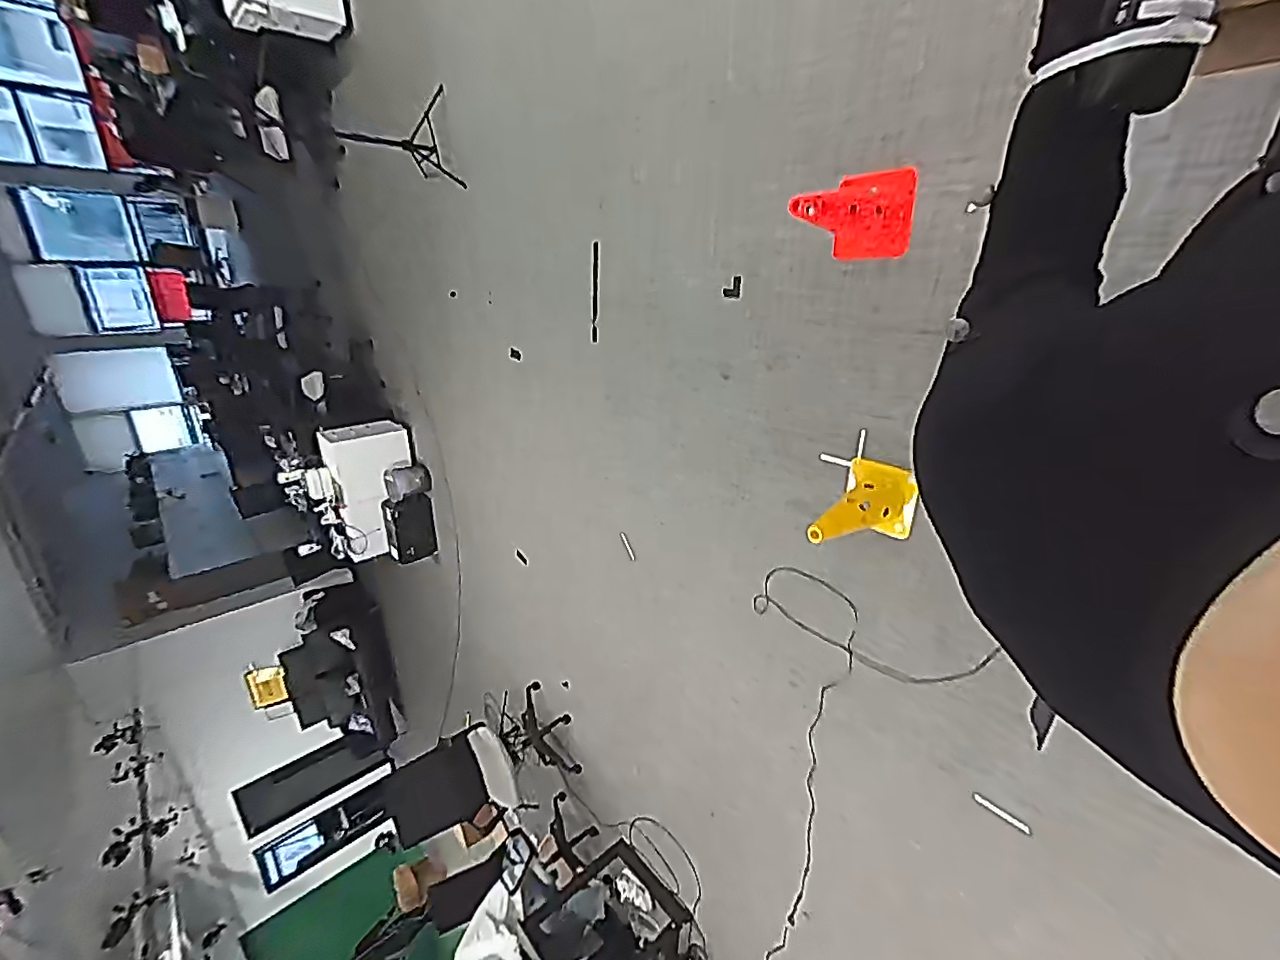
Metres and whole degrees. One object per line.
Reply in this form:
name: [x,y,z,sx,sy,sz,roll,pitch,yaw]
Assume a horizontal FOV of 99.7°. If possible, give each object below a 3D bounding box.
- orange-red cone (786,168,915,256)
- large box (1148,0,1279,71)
orange-red cone: [0.465,-0.635,1.276,0.198,0.360,0.199,22,122,45]
large box: [0.561,-0.450,0.255,0.408,0.320,0.320,19,124,42]
